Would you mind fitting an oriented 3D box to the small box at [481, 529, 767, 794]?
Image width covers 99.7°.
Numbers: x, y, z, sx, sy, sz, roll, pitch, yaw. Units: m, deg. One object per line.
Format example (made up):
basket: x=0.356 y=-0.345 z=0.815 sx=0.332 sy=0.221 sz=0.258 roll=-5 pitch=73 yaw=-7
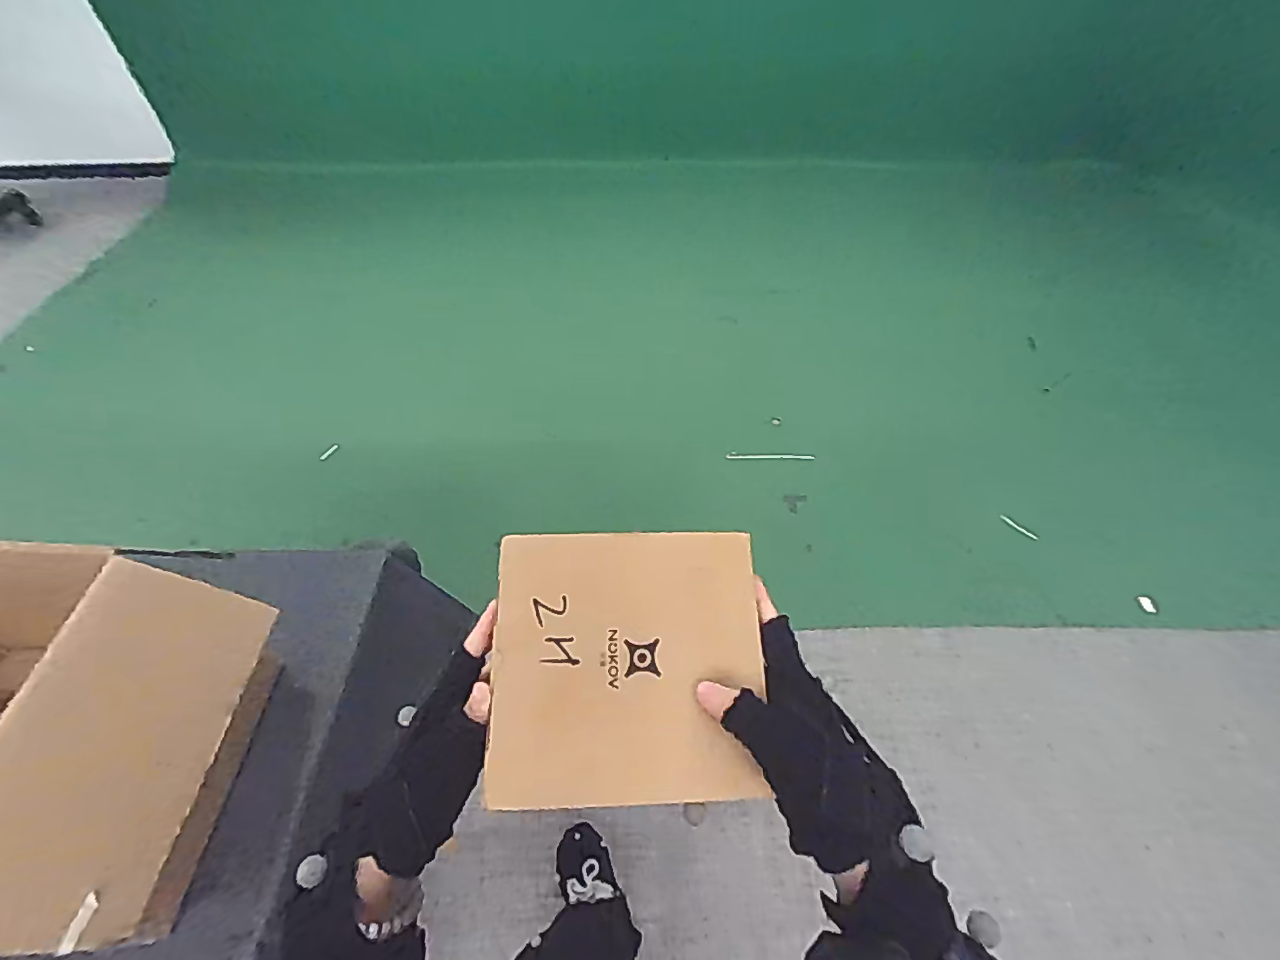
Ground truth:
small box: x=-0.014 y=0.144 z=0.429 sx=0.179 sy=0.176 sz=0.168 roll=1 pitch=66 yaw=-4
